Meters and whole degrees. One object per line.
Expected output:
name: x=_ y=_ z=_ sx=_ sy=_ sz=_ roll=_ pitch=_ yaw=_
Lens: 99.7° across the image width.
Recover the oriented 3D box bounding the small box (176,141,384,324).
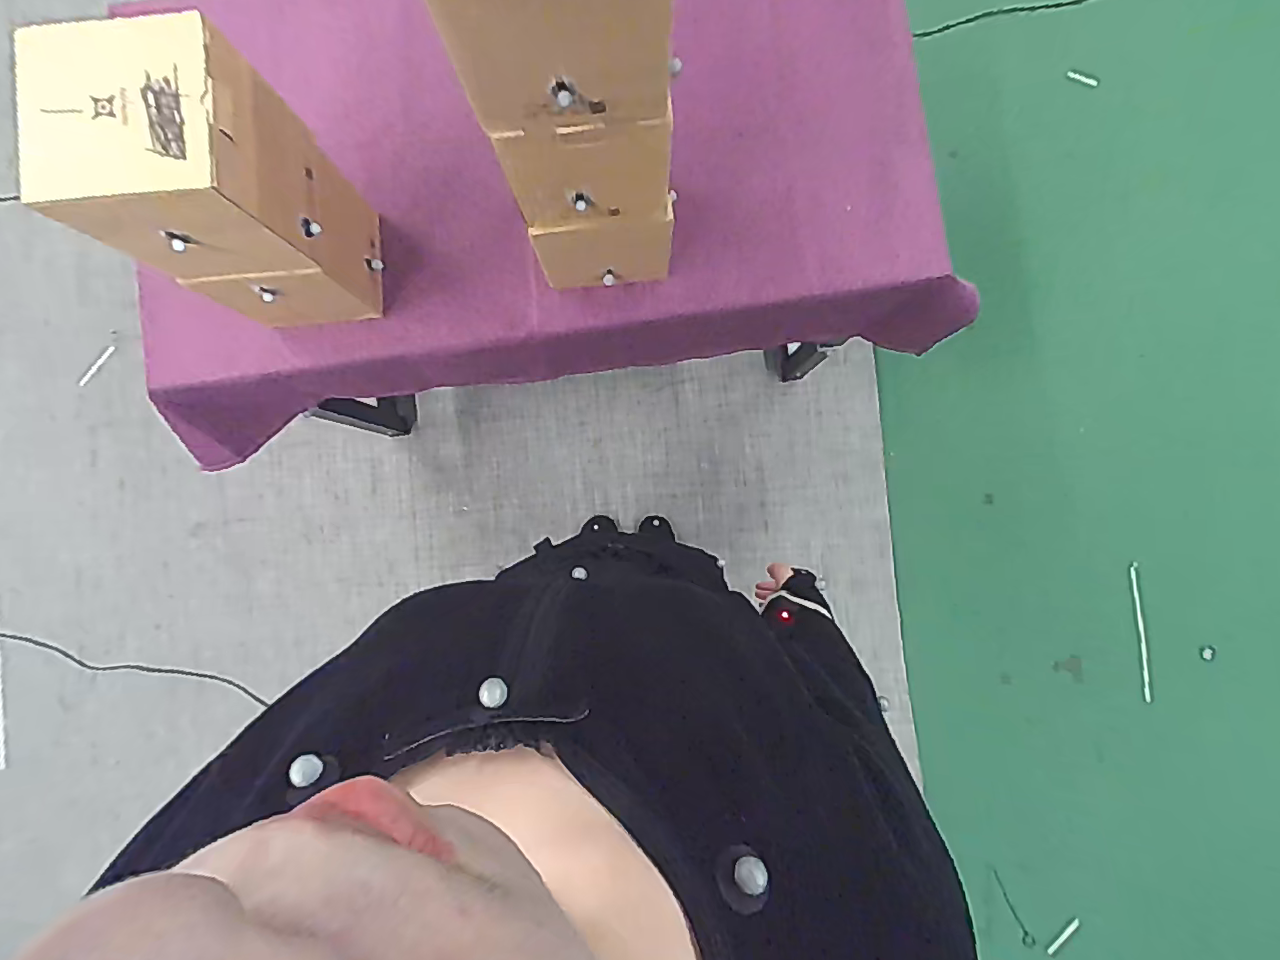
small box: x=-0.473 y=-0.319 z=0.729 sx=0.179 sy=0.176 sz=0.168 roll=-4 pitch=88 yaw=-1

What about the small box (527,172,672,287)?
small box: x=-0.056 y=-0.378 z=0.730 sx=0.179 sy=0.176 sz=0.168 roll=-6 pitch=87 yaw=-1

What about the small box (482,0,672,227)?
small box: x=-0.059 y=-0.396 z=0.568 sx=0.168 sy=0.176 sz=0.179 roll=-5 pitch=88 yaw=0

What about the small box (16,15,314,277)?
small box: x=-0.469 y=-0.329 z=0.566 sx=0.179 sy=0.176 sz=0.168 roll=-5 pitch=88 yaw=0
